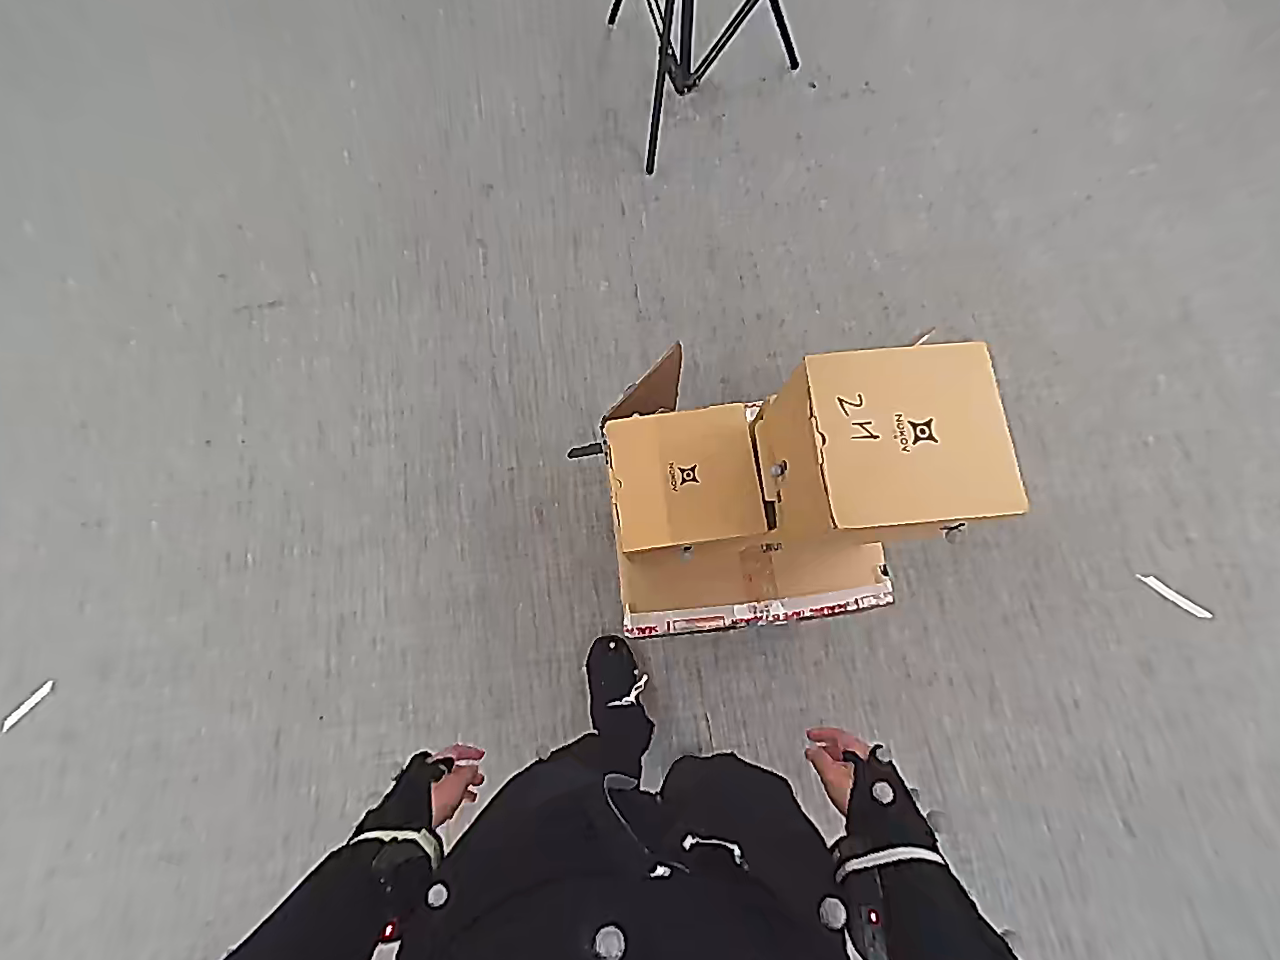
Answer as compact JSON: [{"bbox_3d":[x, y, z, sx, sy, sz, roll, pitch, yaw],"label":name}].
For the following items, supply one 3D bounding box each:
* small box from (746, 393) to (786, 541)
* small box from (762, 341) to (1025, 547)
[{"bbox_3d":[0.242,-0.010,0.725,0.179,0.176,0.168,-2,76,-1],"label":"small box"},{"bbox_3d":[0.240,-0.026,0.559,0.179,0.176,0.168,-5,76,-1],"label":"small box"}]
